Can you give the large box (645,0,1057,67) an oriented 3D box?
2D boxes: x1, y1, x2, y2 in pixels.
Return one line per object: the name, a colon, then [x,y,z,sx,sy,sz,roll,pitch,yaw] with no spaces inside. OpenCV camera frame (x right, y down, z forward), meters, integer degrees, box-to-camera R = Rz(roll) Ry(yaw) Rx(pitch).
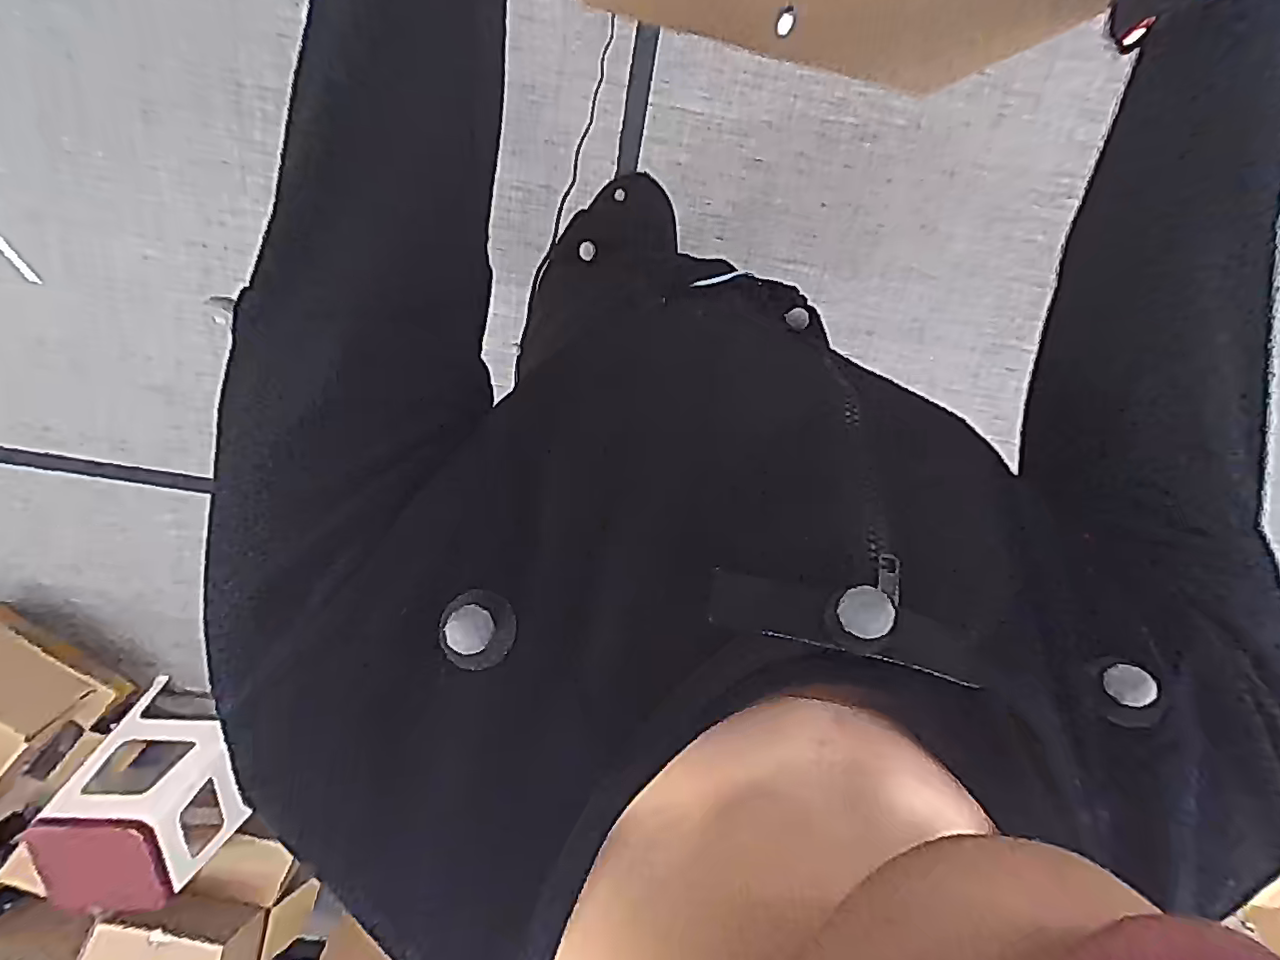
large box: [0.164,-0.564,0.399,0.408,0.320,0.320,11,114,-4]
